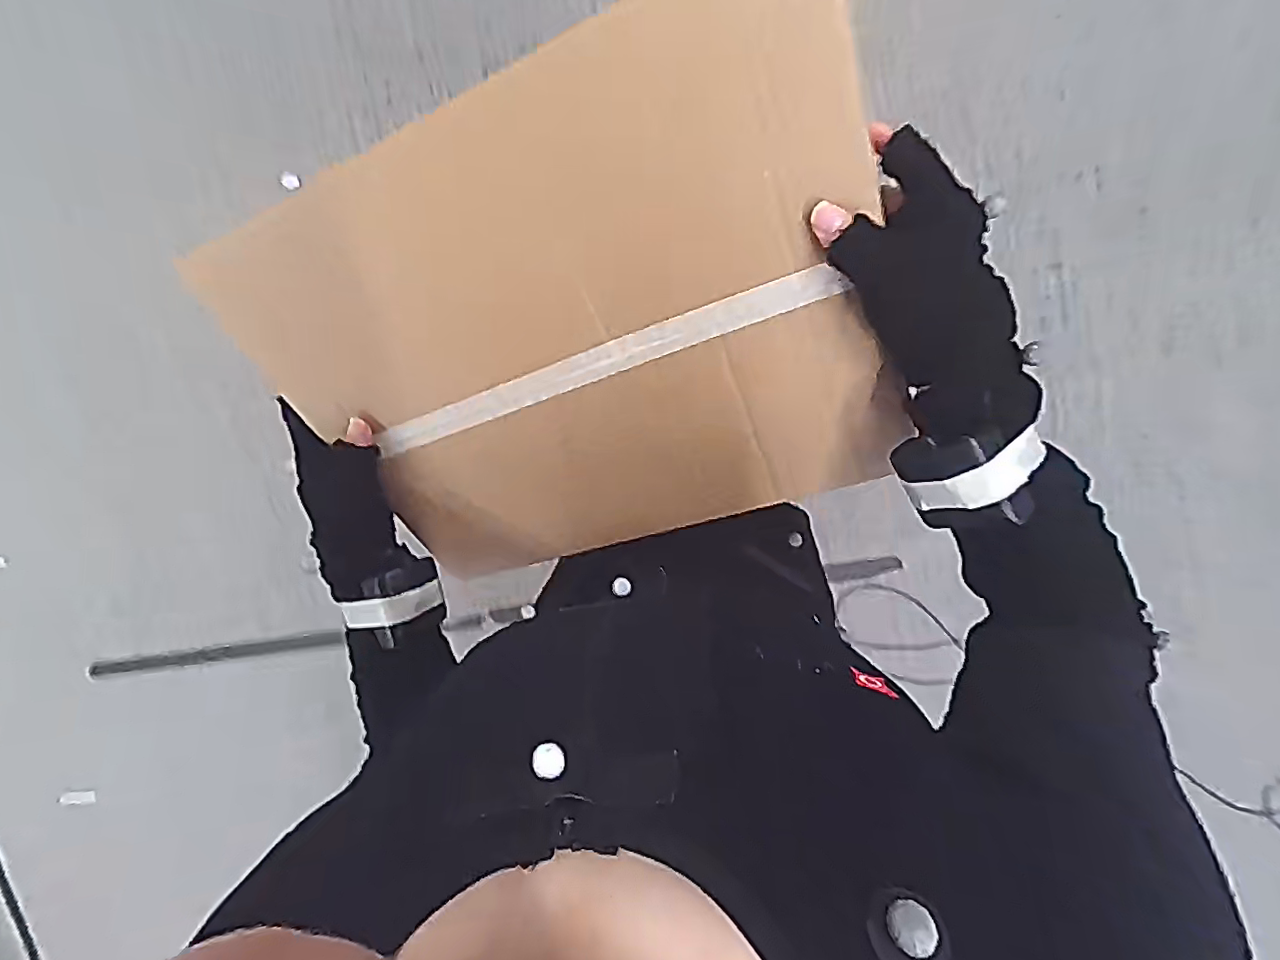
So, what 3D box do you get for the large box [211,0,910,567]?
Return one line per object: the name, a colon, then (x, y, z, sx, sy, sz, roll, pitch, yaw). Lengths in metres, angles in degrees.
large box: (-0.032, -0.172, 0.487, 0.408, 0.320, 0.320, -16, 126, 18)
